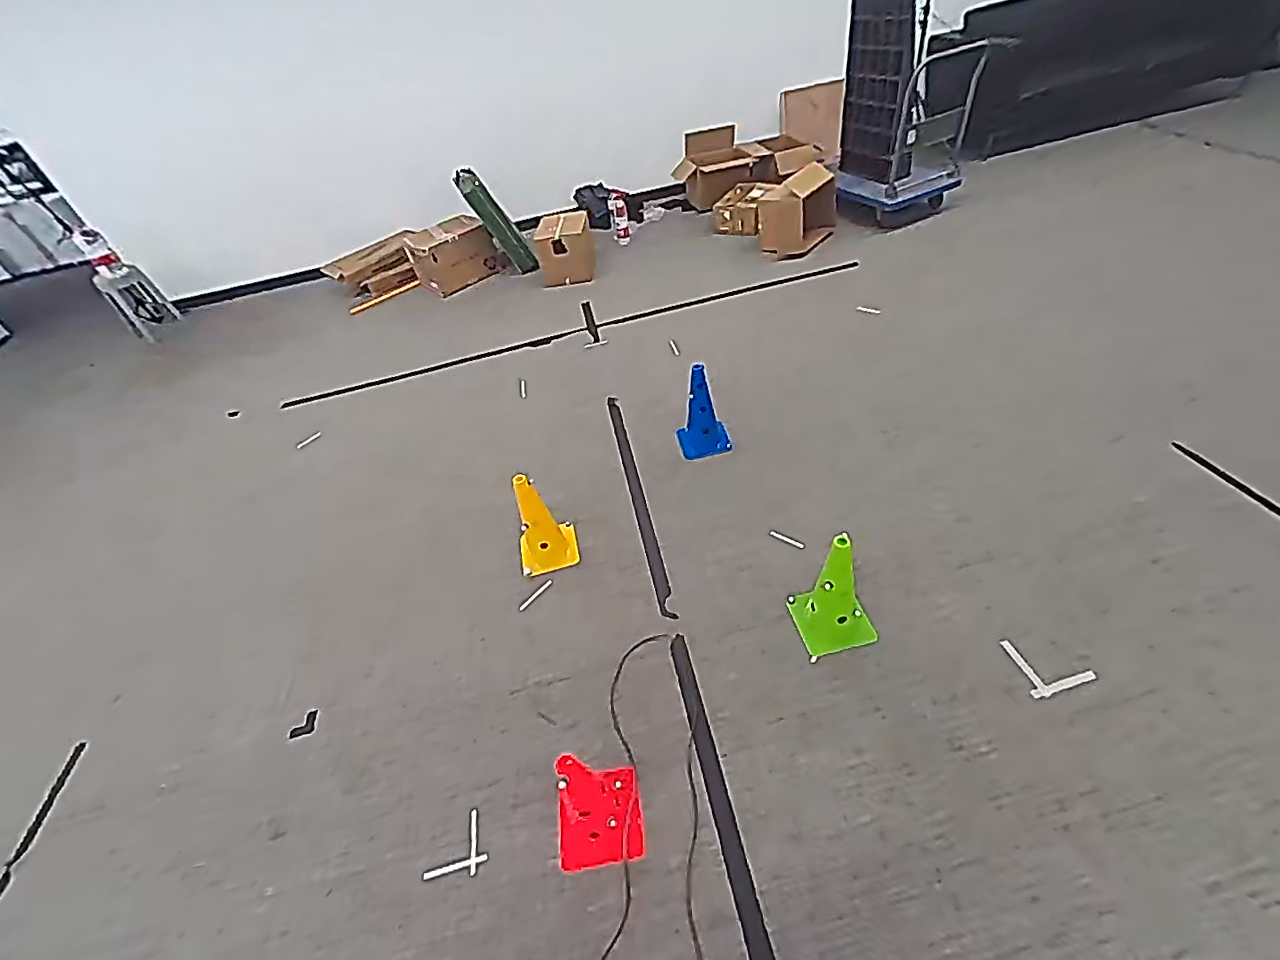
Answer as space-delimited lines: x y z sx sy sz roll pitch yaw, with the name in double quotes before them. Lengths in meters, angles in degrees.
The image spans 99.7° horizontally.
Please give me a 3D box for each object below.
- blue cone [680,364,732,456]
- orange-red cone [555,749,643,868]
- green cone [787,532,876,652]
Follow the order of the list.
"blue cone" 0.248 -0.286 2.126 0.192 0.380 0.193 -11 43 0
"orange-red cone" -0.124 0.680 1.183 0.199 0.360 0.198 -12 42 2
"green cone" 0.529 0.276 1.454 0.202 0.368 0.200 -13 43 -3
